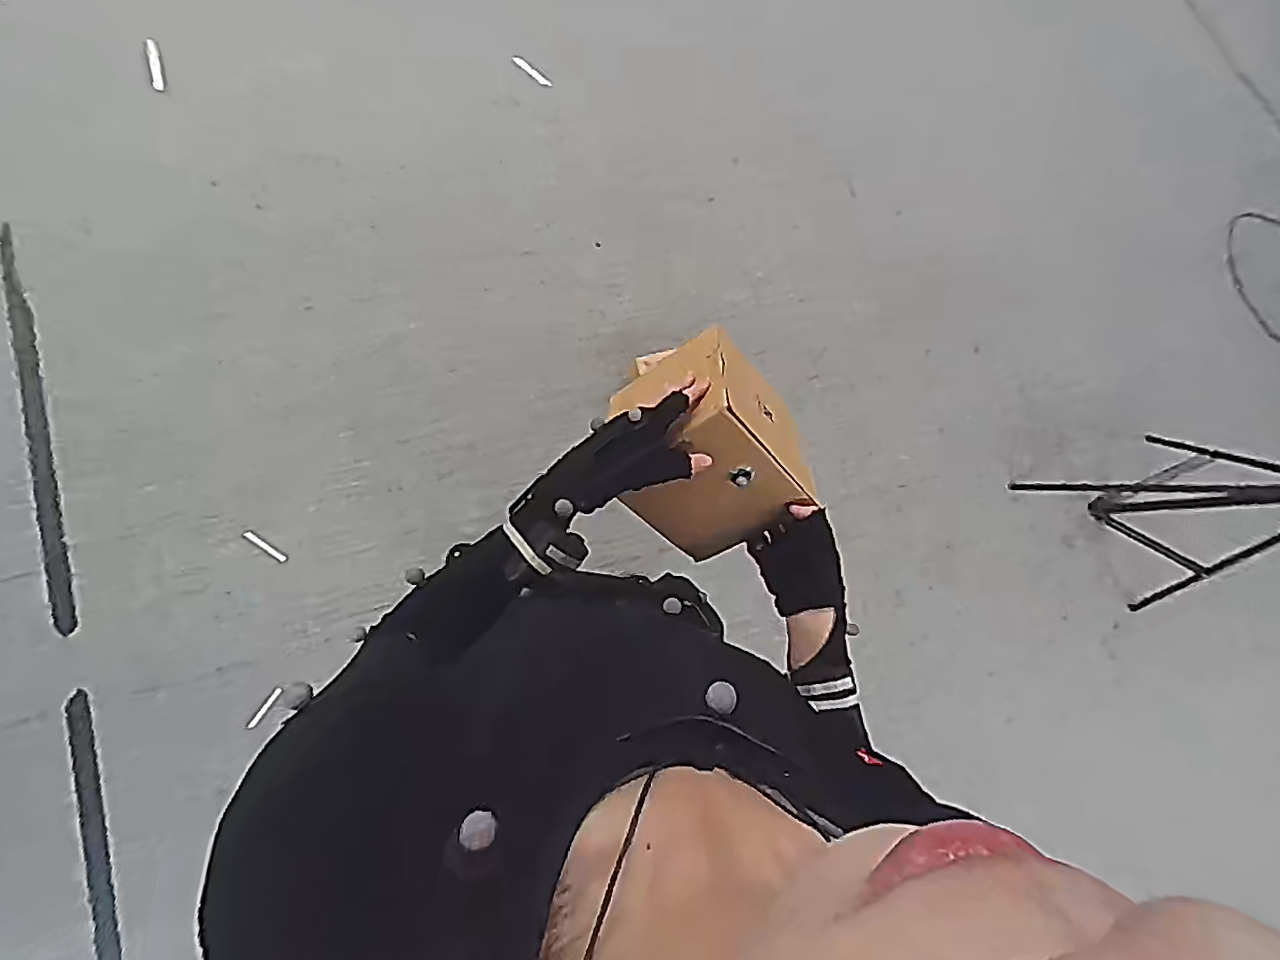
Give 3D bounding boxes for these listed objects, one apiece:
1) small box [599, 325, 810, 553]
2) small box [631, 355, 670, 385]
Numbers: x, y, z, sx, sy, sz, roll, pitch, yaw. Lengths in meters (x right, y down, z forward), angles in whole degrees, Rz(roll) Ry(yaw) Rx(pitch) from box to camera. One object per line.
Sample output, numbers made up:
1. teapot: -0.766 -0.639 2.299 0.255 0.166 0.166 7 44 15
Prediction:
1. small box: 0.071 -0.039 0.639 0.179 0.176 0.168 42 33 -31
2. small box: 0.080 -0.246 1.541 0.168 0.176 0.179 -14 86 -11
